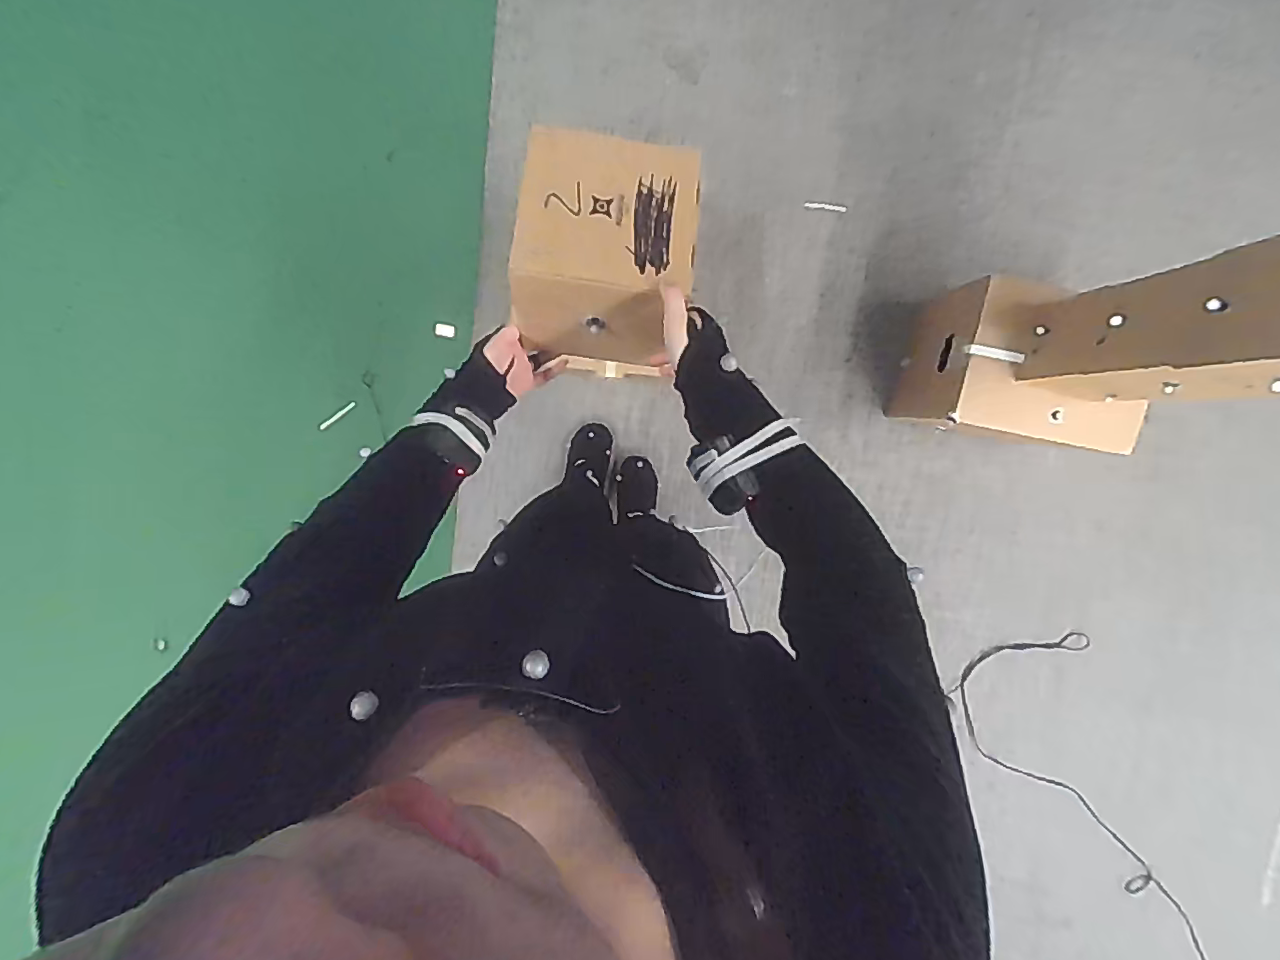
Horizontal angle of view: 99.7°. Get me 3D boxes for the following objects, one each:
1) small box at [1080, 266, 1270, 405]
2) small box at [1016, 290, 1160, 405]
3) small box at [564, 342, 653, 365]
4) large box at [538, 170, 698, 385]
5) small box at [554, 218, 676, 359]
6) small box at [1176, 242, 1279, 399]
[{"bbox_3d":[0.894,-0.226,0.889,0.179,0.176,0.168,17,95,-1],"label":"small box"},{"bbox_3d":[0.892,-0.248,1.052,0.179,0.176,0.168,15,96,-2],"label":"small box"},{"bbox_3d":[-0.044,-0.323,1.045,0.168,0.176,0.179,7,97,-1],"label":"small box"},{"bbox_3d":[-0.046,-0.442,1.275,0.320,0.320,0.408,6,97,-1],"label":"large box"},{"bbox_3d":[-0.037,-0.298,0.882,0.168,0.176,0.179,7,97,-1],"label":"small box"},{"bbox_3d":[0.893,-0.212,0.725,0.168,0.176,0.179,15,96,-2],"label":"small box"}]
